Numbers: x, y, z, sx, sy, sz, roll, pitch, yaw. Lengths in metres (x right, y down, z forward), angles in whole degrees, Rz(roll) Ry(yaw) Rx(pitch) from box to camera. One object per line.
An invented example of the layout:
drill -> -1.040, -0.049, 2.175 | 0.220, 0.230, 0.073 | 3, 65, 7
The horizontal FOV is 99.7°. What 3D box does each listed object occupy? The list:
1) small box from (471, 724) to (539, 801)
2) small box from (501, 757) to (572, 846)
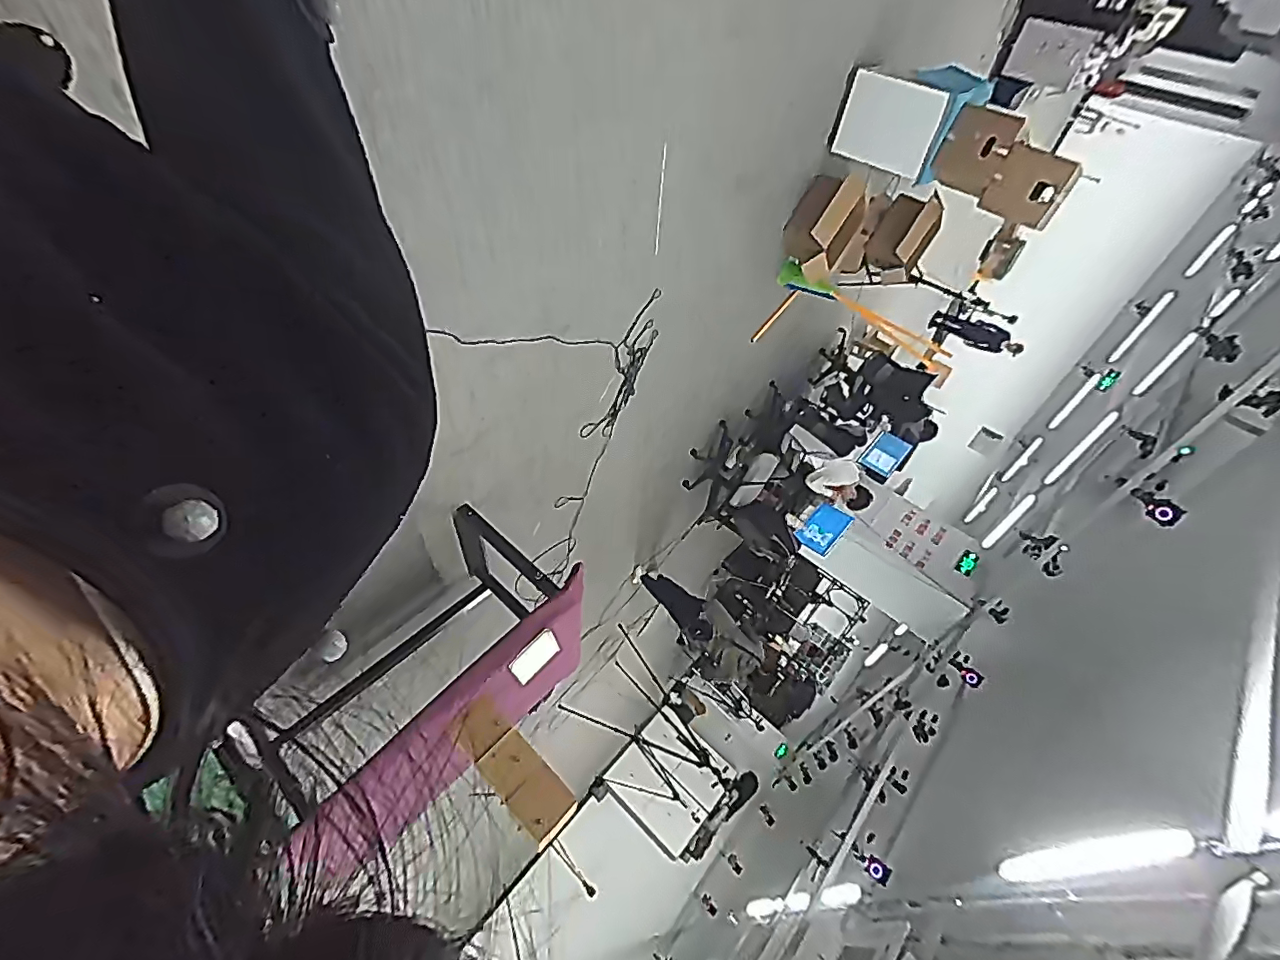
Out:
small box -> -0.472, 0.990, 1.892 | 0.168, 0.176, 0.179 | -39, 155, -33
small box -> -0.353, 1.082, 1.823 | 0.179, 0.176, 0.168 | -38, 155, -36
